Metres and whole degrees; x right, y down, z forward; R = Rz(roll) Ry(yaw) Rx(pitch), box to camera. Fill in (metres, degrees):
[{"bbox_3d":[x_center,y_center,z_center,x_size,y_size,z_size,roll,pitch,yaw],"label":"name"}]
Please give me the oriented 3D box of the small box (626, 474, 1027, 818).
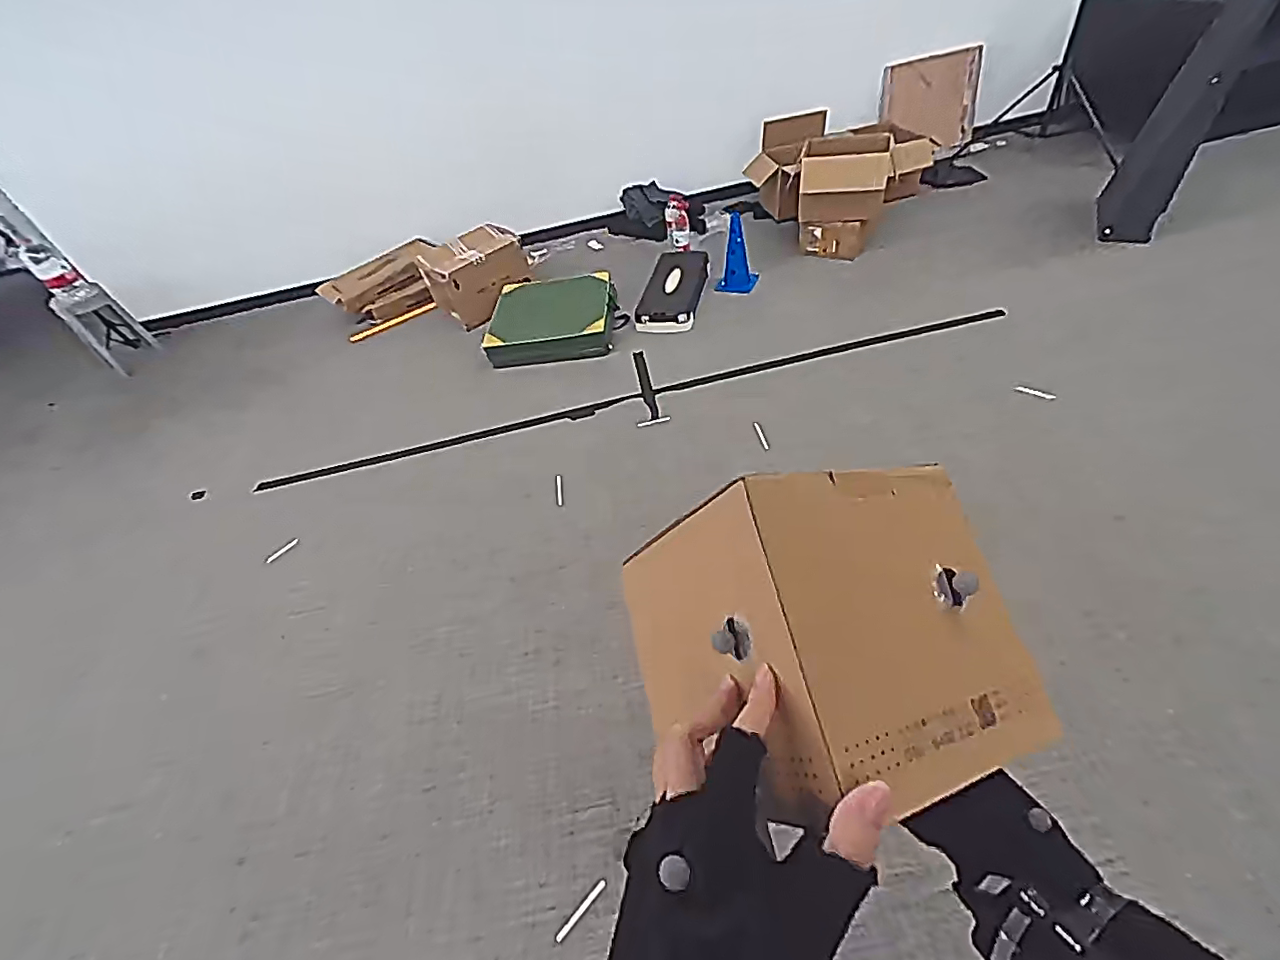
[{"bbox_3d":[0.111,0.110,0.372,0.168,0.179,0.176,-3,67,-26],"label":"small box"}]
